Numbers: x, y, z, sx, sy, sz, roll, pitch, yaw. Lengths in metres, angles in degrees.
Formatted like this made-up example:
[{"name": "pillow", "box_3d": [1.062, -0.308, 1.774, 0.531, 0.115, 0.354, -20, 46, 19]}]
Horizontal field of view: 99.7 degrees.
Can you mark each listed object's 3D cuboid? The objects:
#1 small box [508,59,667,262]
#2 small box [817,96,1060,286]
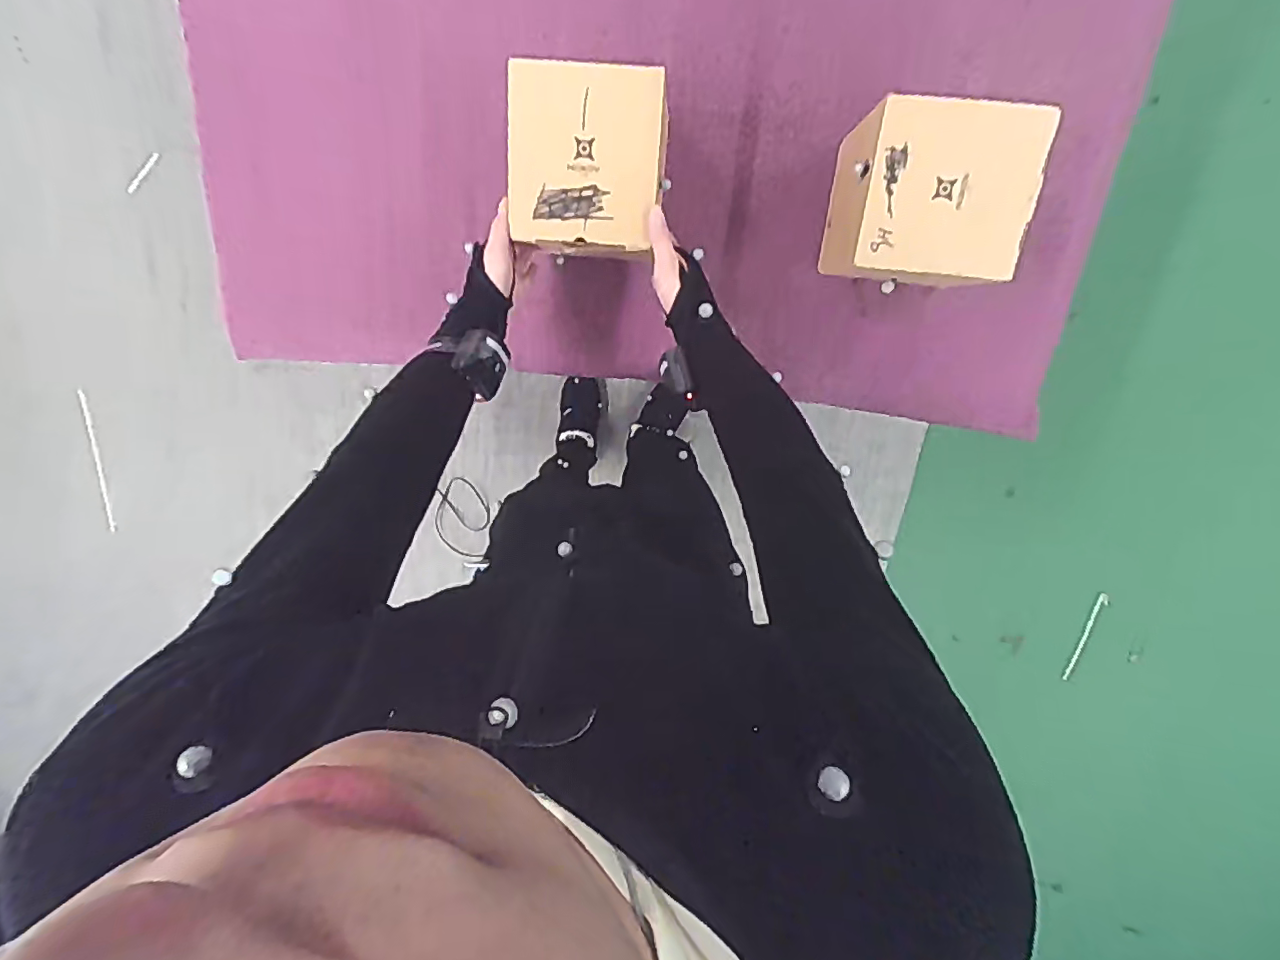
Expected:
[{"name": "small box", "box_3d": [-0.056, -0.366, 0.654, 0.168, 0.176, 0.179, 5, 108, 1]}, {"name": "small box", "box_3d": [0.333, -0.326, 0.645, 0.179, 0.176, 0.168, 7, 108, 1]}]
